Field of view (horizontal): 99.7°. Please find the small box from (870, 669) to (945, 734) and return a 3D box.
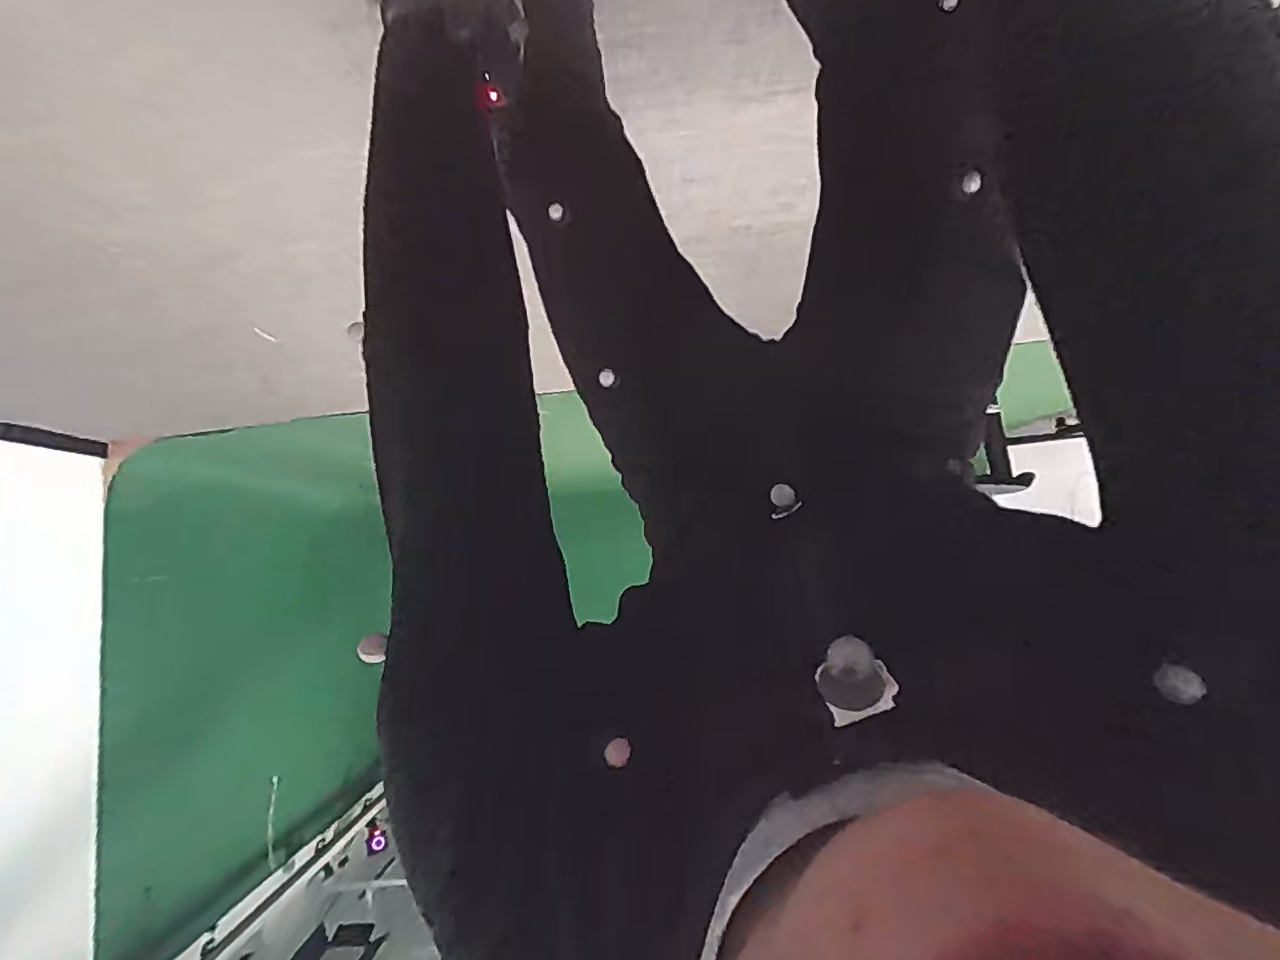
[{"bbox_3d":[0.952,0.785,1.937,0.179,0.176,0.168,-9,171,2],"label":"small box"}]
